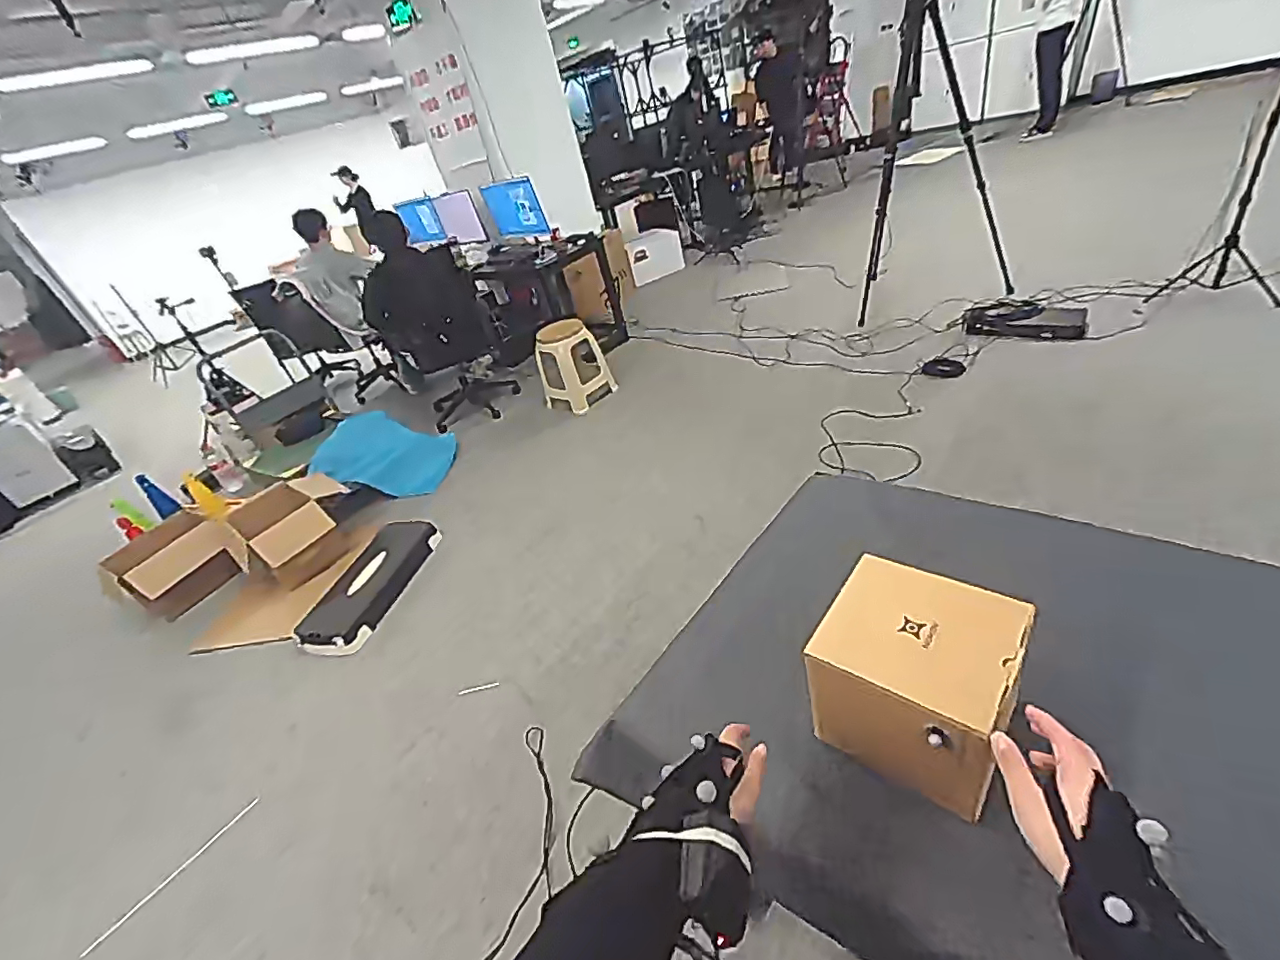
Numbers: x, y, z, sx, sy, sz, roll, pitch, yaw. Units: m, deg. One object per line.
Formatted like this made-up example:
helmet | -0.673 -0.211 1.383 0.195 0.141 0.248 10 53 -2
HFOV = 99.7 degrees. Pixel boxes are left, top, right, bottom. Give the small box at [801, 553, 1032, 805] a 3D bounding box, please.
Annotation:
small box | 0.302 0.215 0.602 0.179 0.176 0.168 16 46 39
